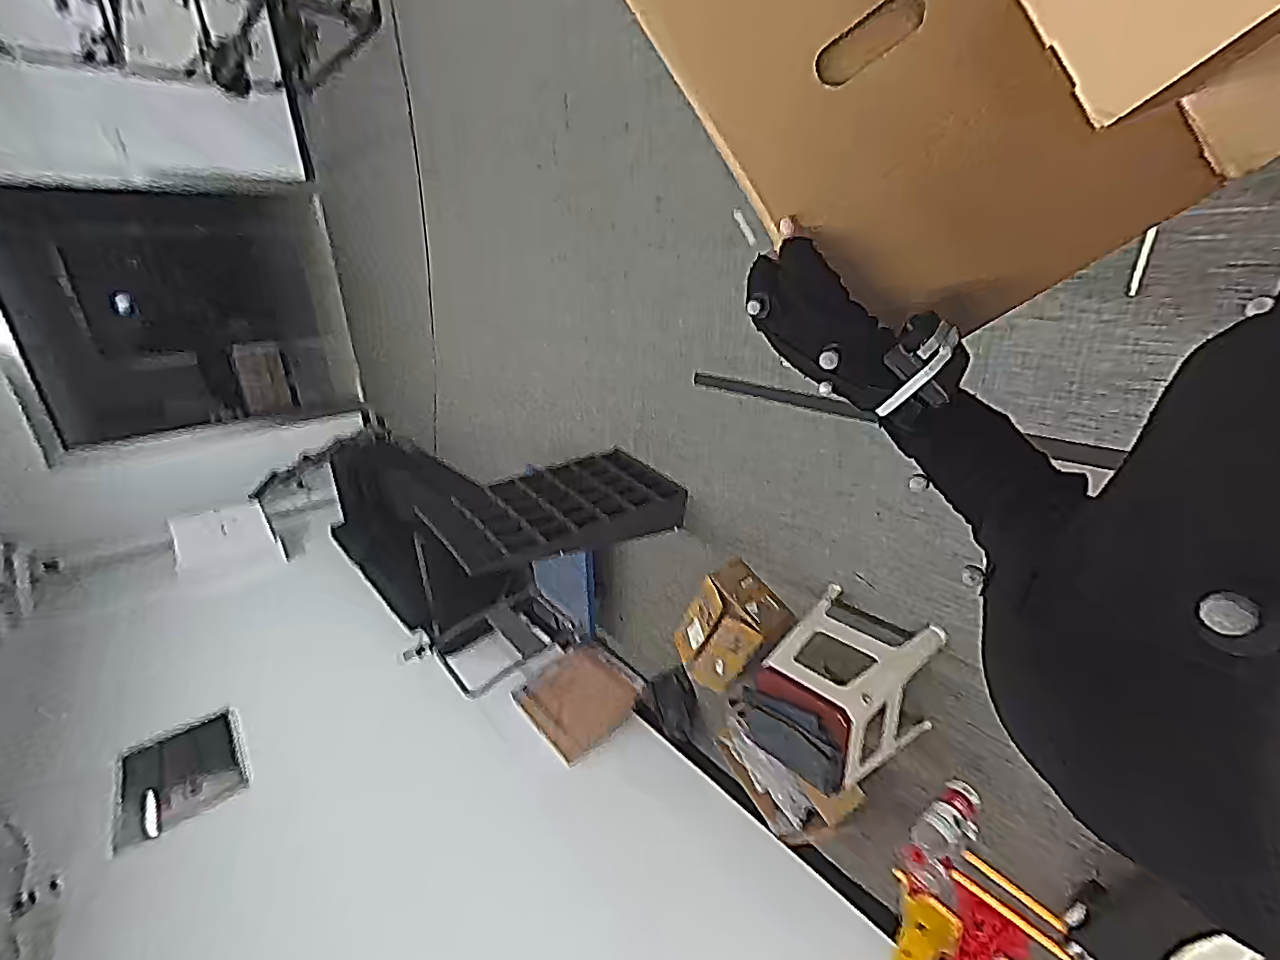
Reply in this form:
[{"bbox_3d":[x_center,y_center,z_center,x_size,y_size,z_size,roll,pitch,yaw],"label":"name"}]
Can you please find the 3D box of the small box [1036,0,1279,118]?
[{"bbox_3d":[0.335,-0.342,0.286,0.168,0.176,0.179,61,153,-2],"label":"small box"}]
